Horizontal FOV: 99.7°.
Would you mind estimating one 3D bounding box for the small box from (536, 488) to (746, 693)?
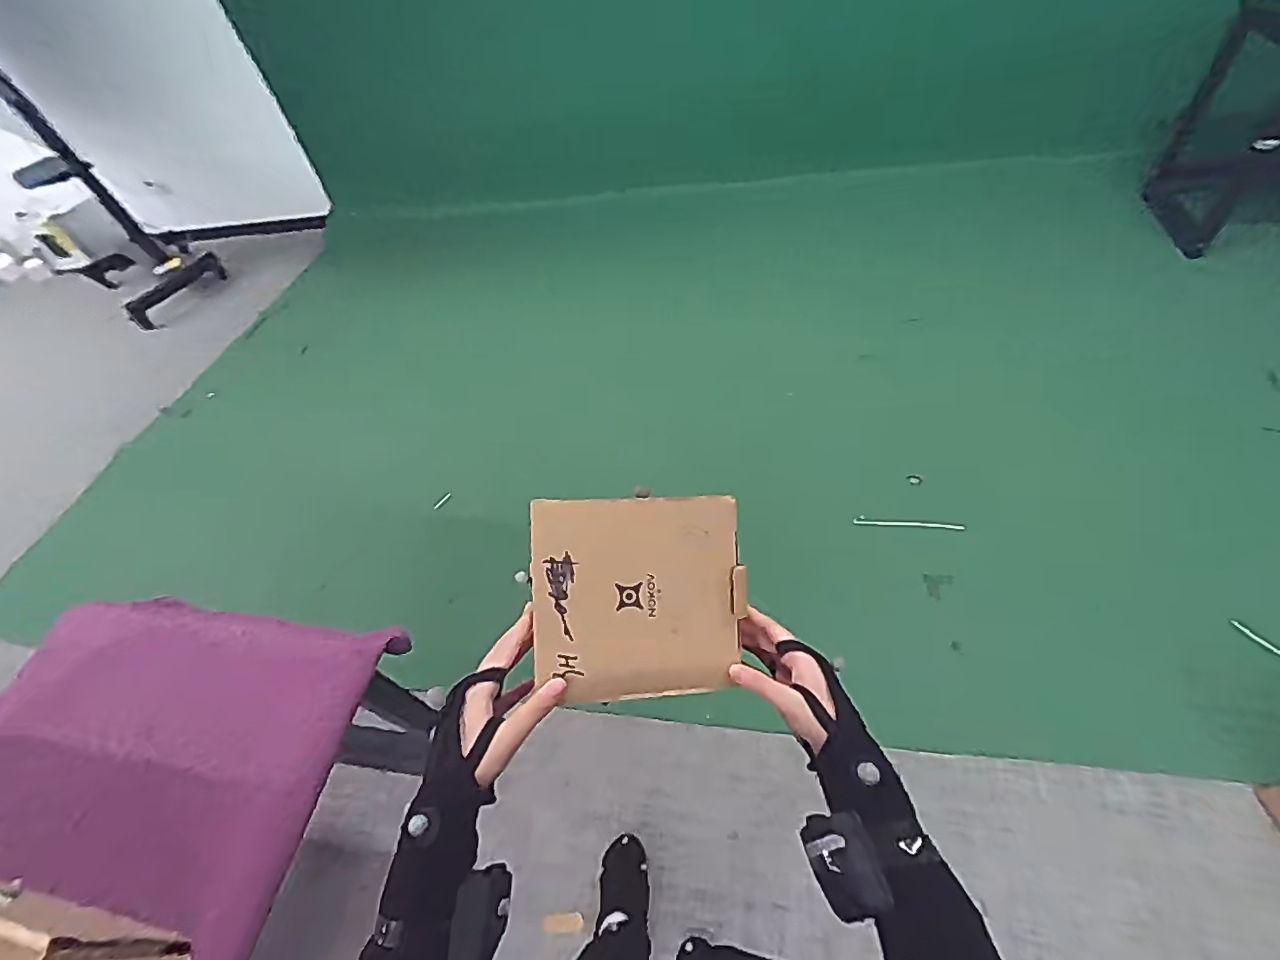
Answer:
[{"bbox_3d":[-0.011,0.091,0.525,0.179,0.176,0.168,-1,87,-10],"label":"small box"}]
